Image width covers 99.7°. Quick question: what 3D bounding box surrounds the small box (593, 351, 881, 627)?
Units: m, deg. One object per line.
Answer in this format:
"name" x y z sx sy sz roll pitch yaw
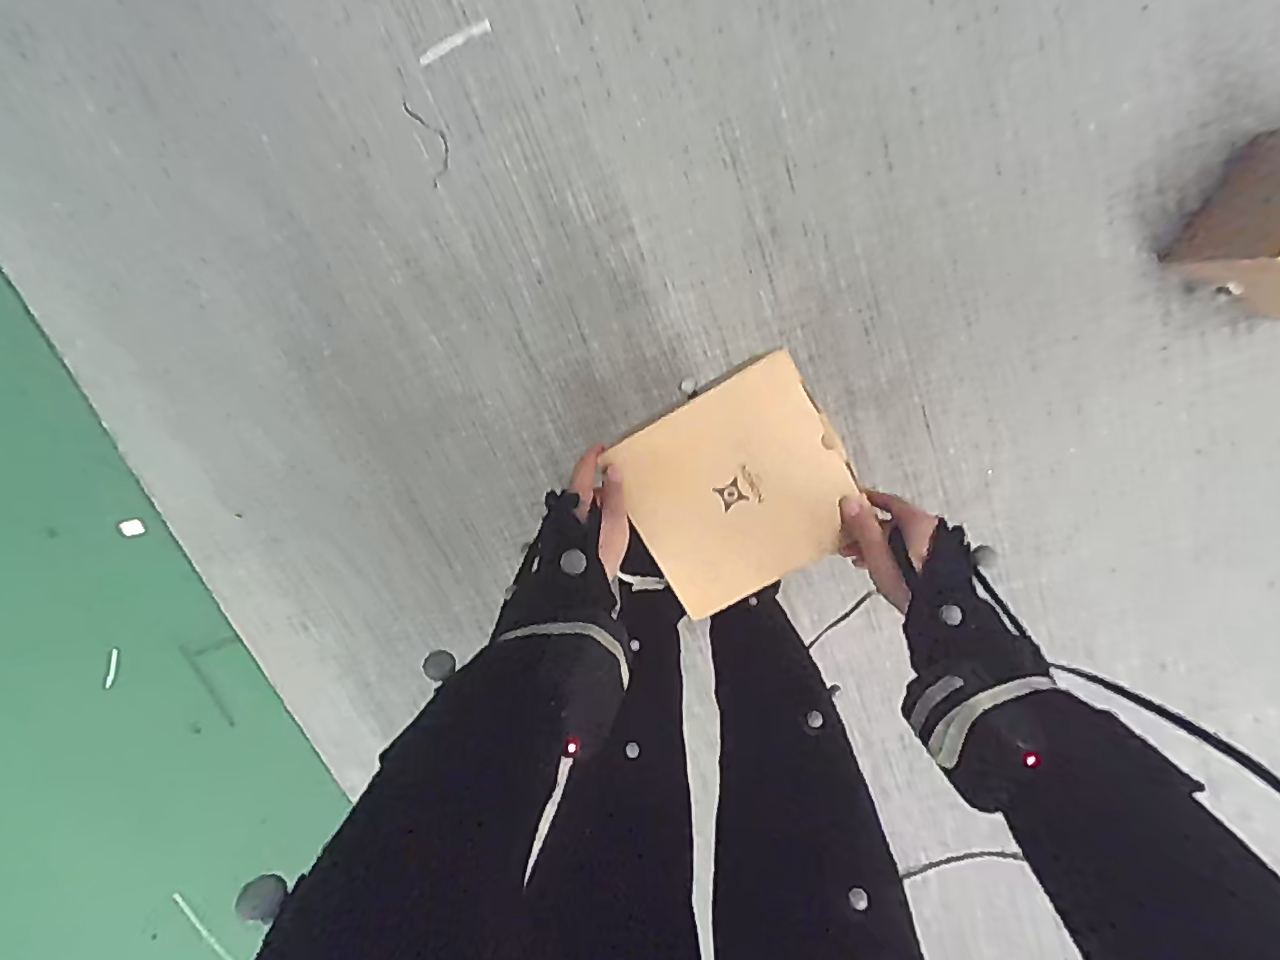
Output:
"small box" 0.082 0.000 0.503 0.179 0.176 0.168 -30 96 9

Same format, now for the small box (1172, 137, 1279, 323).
"small box" 0.794 -0.292 0.619 0.168 0.176 0.179 26 110 -1
